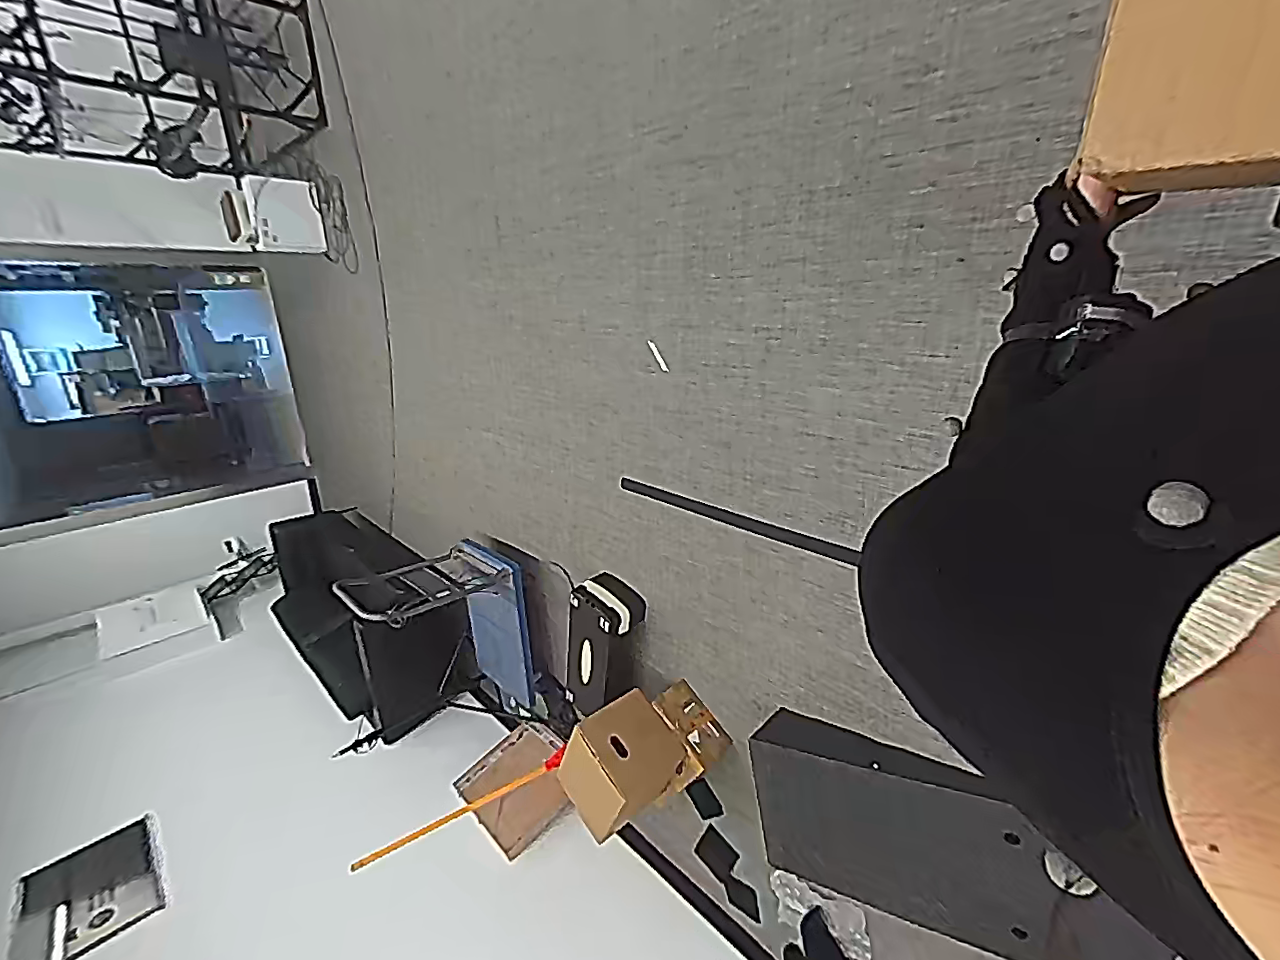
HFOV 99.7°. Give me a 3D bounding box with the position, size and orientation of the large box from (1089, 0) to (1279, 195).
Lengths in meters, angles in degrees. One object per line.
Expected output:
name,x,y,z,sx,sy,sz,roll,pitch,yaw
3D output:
large box,0.444,-0.294,0.178,0.408,0.320,0.320,16,120,38
